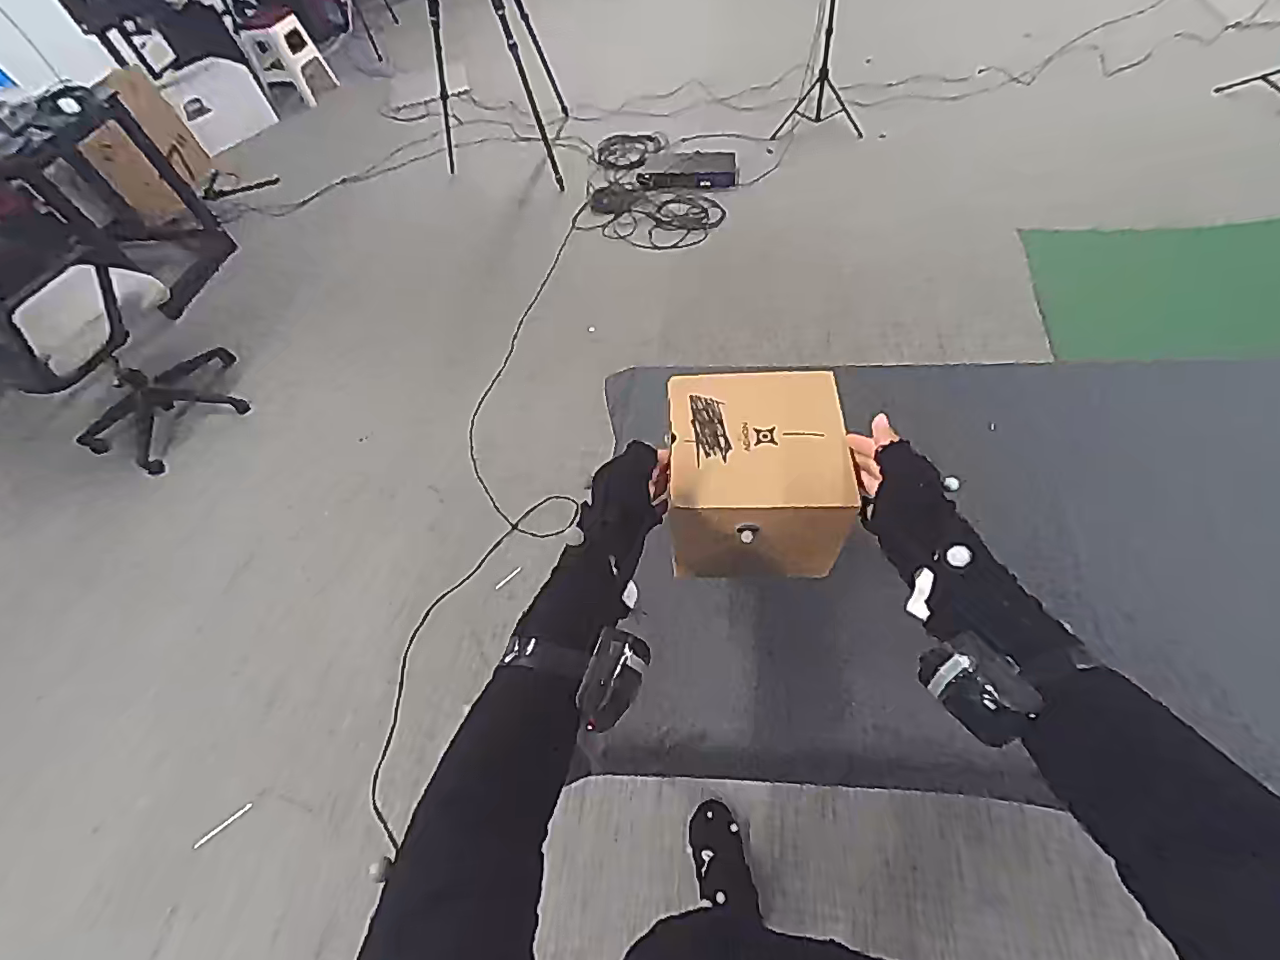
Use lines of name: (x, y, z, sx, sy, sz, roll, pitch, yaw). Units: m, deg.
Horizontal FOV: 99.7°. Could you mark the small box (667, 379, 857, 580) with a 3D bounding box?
small box: (0.123, 0.006, 0.606, 0.179, 0.176, 0.168, -1, 58, 5)
